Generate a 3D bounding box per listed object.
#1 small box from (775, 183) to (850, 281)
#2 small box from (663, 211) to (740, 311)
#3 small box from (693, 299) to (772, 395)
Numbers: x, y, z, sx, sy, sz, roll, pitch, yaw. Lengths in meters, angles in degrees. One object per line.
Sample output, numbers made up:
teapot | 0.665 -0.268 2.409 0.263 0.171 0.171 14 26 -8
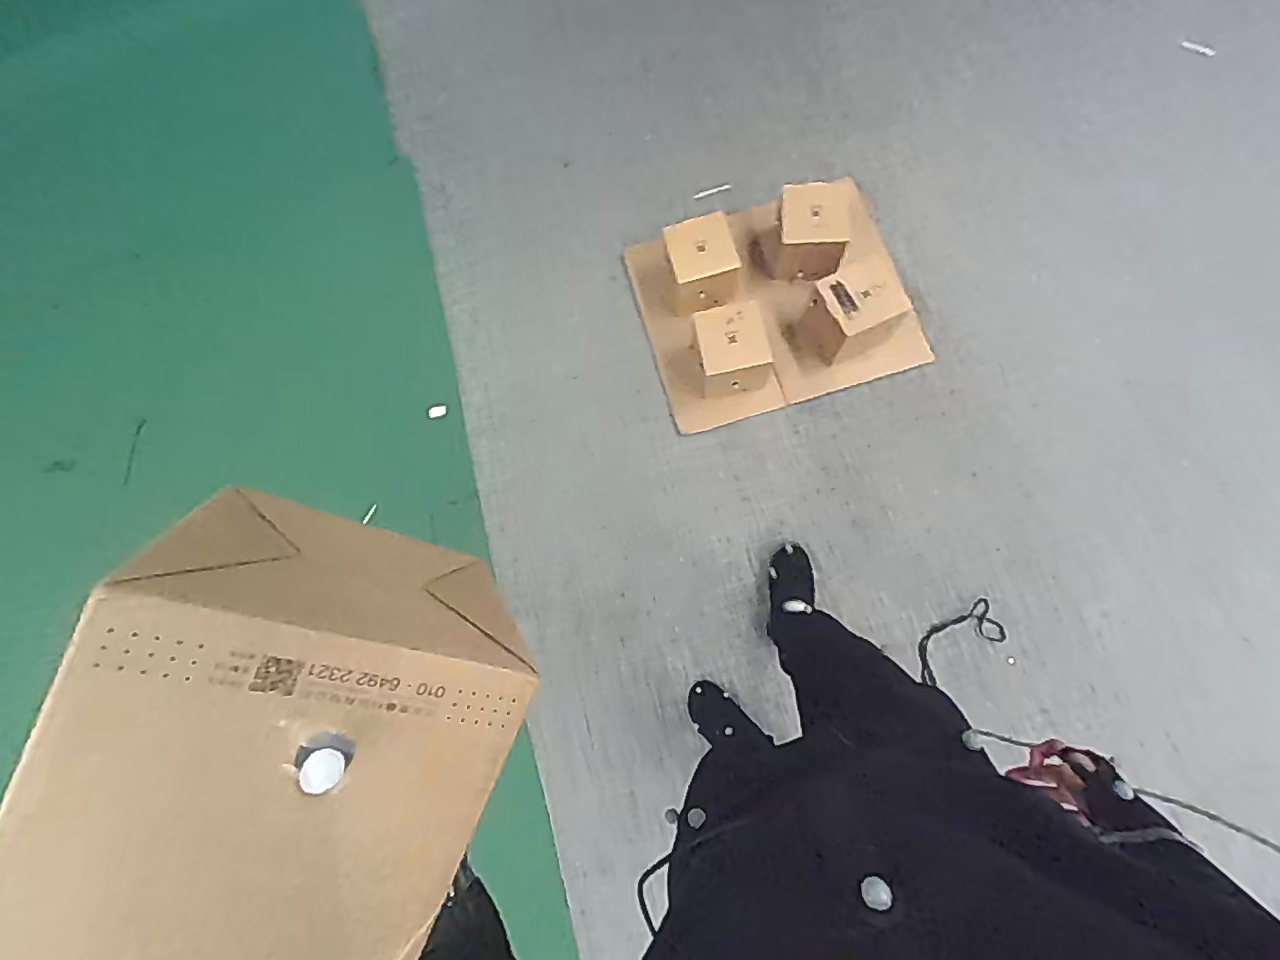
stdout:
small box | 0.453 -0.658 1.442 0.168 0.176 0.179 2 77 7
small box | 0.166 -0.579 1.462 0.168 0.176 0.179 -15 75 3
small box | 0.234 -0.332 1.395 0.168 0.176 0.179 -11 76 3
